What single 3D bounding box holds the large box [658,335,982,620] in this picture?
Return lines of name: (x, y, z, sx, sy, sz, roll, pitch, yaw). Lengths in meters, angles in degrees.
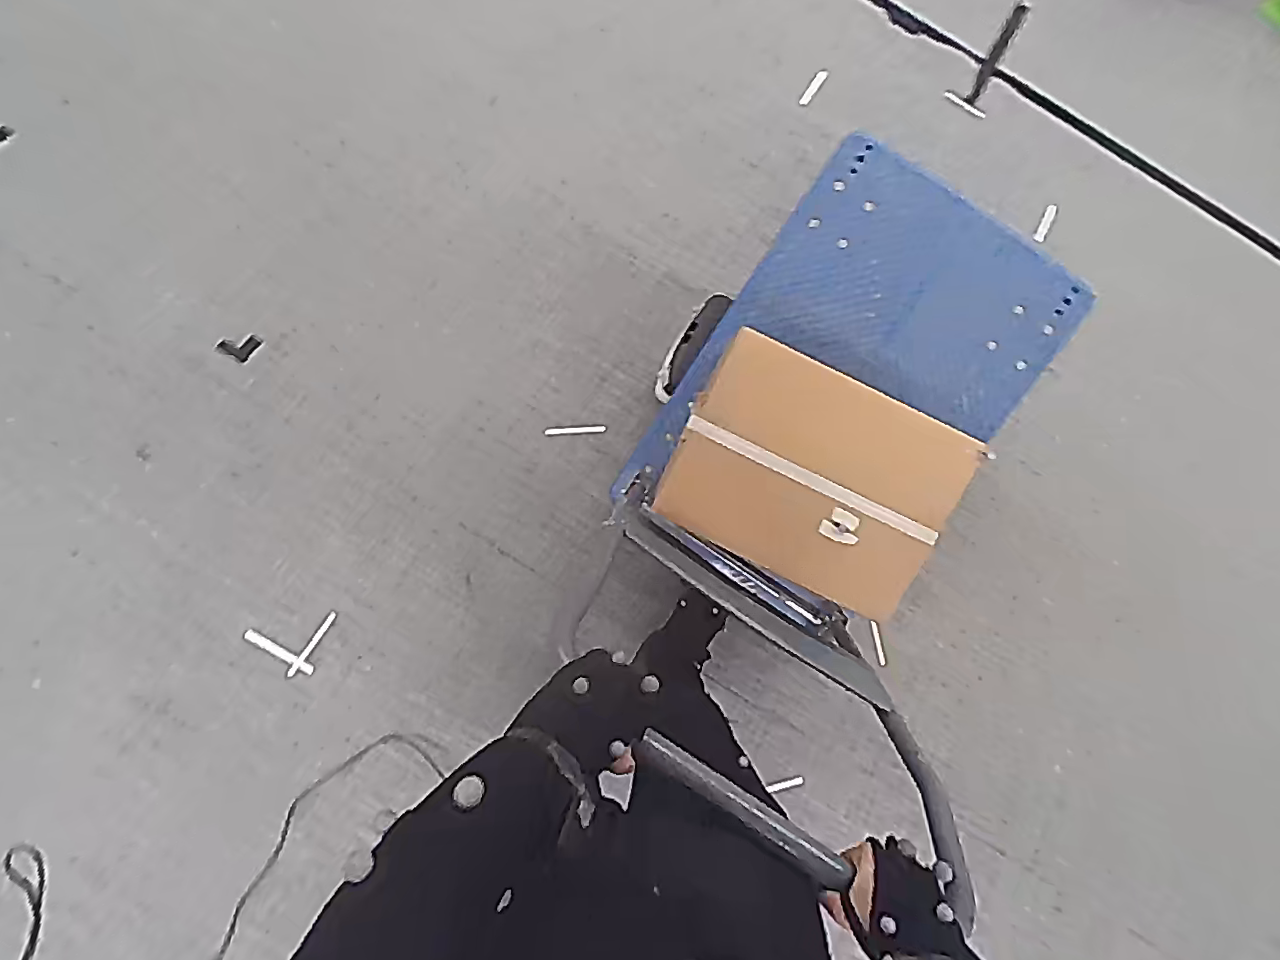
large box: (0.273, -0.018, 0.967, 0.408, 0.320, 0.320, 26, 99, -1)
